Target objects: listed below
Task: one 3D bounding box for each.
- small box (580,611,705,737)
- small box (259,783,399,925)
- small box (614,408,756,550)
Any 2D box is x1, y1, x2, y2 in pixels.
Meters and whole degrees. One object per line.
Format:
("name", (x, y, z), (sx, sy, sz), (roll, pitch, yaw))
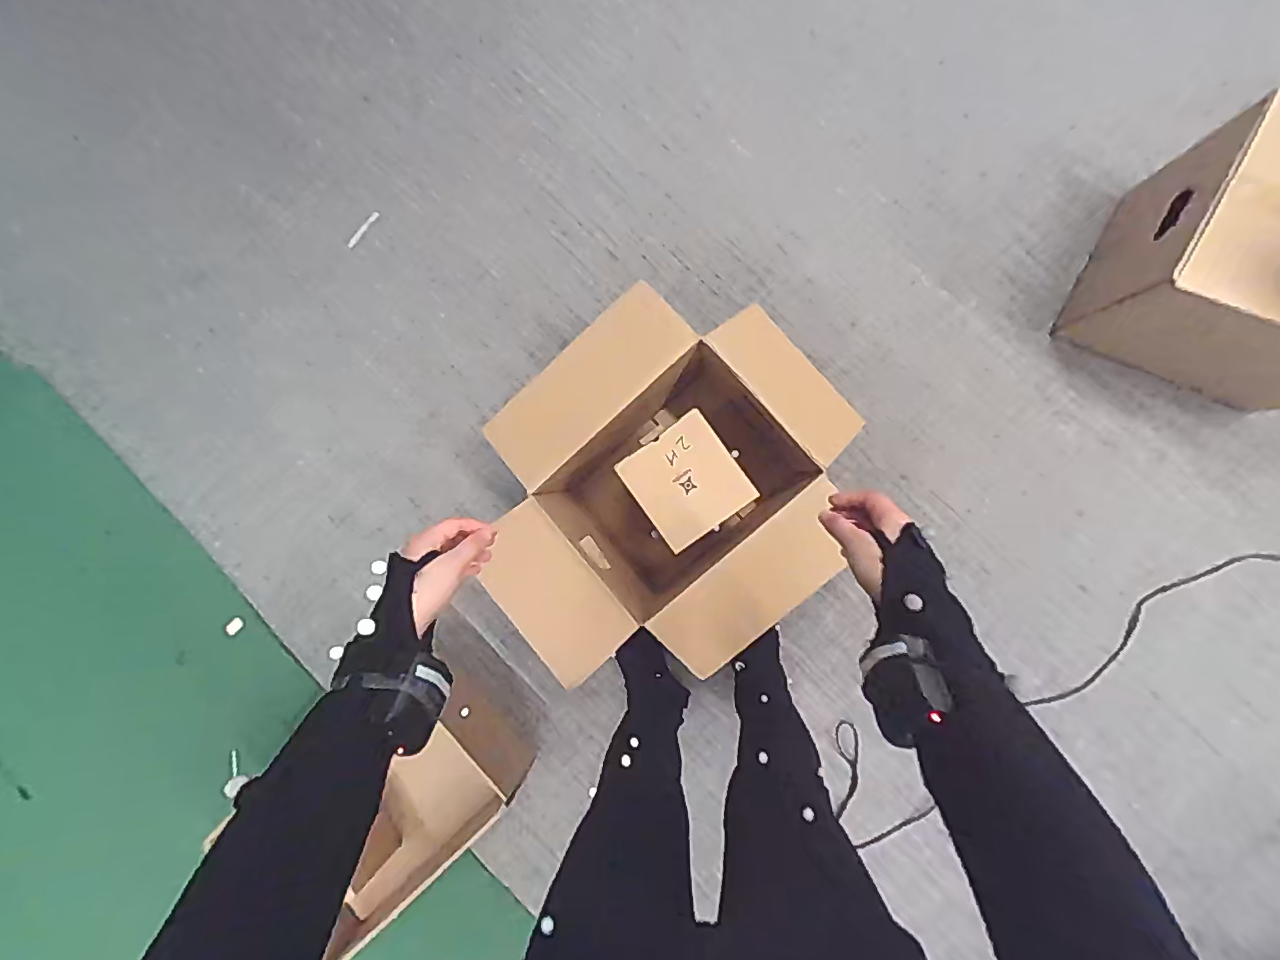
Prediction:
("small box", (0.010, 0.399, 1.128), (0.176, 0.168, 0.179), (36, 70, -21))
("small box", (-0.675, 0.806, 1.190), (0.168, 0.176, 0.179), (-30, 86, 6))
("small box", (0.079, -0.002, 0.946), (0.168, 0.176, 0.179), (-36, 86, 3))
